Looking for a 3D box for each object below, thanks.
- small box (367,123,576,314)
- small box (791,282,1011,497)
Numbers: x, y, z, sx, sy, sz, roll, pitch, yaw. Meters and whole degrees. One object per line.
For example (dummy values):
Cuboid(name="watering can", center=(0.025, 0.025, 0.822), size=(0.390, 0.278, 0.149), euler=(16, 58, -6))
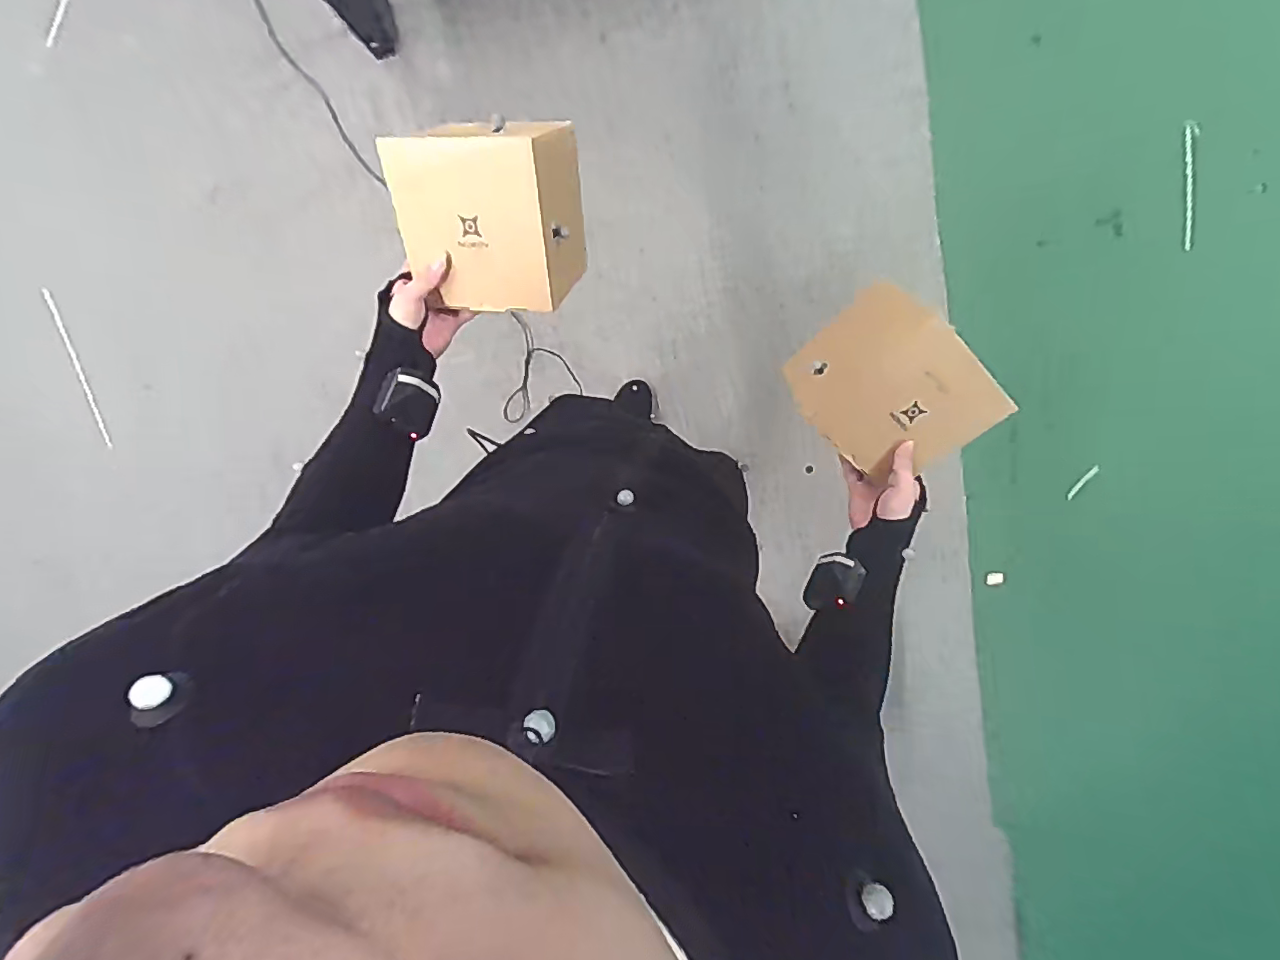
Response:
Cuboid(name="small box", center=(-0.177, -0.311, 0.633), size=(0.168, 0.176, 0.179), euler=(3, 128, 7))
Cuboid(name="small box", center=(0.312, -0.118, 0.691), size=(0.168, 0.176, 0.179), euler=(38, 118, -21))
